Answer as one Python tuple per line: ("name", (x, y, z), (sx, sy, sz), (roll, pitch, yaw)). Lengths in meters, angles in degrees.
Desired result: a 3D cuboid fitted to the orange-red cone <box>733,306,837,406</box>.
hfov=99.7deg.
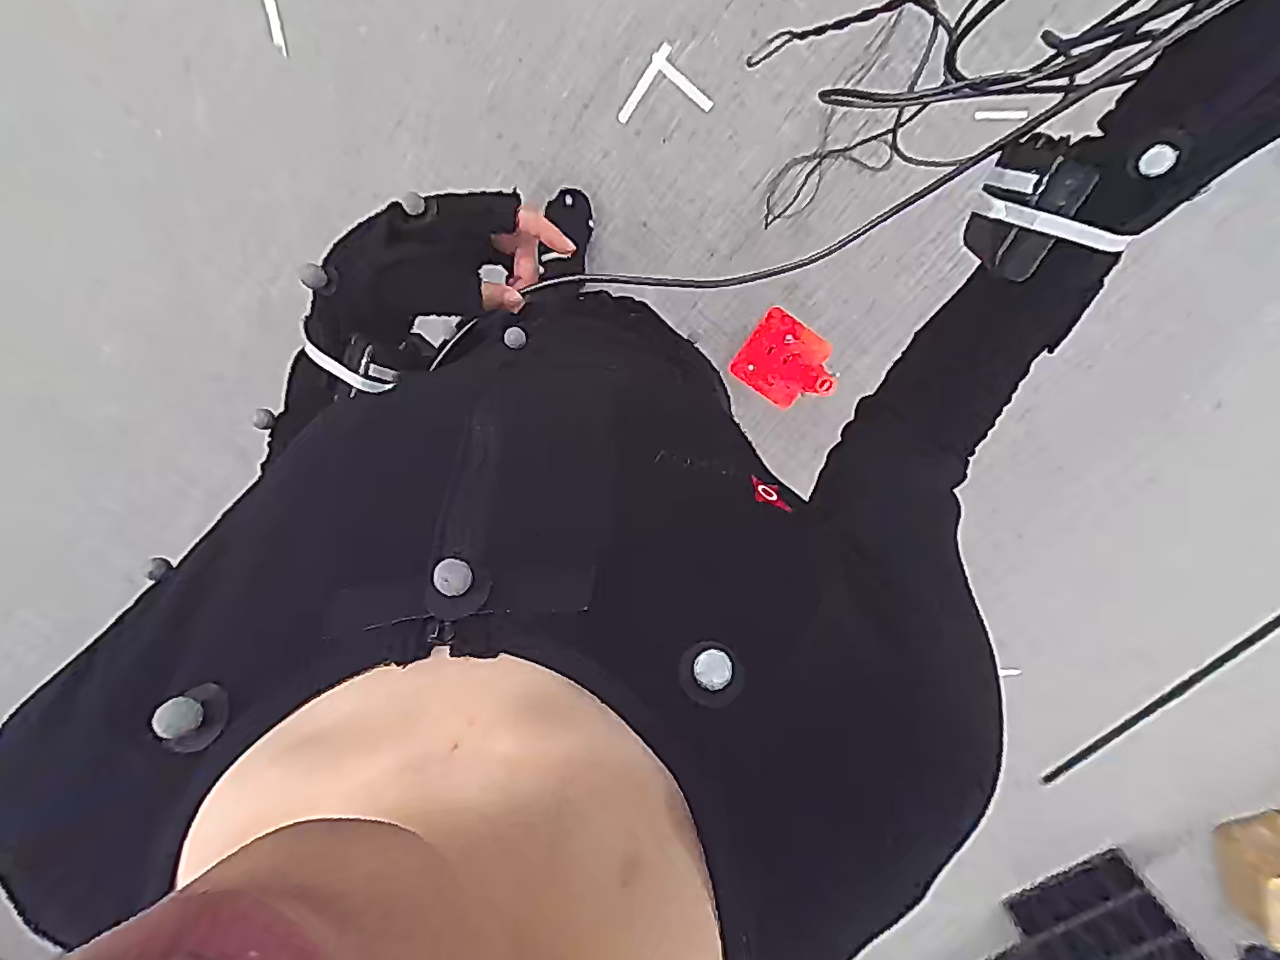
("orange-red cone", (0.363, -0.246, 1.210), (0.199, 0.360, 0.198), (32, 108, -13))
